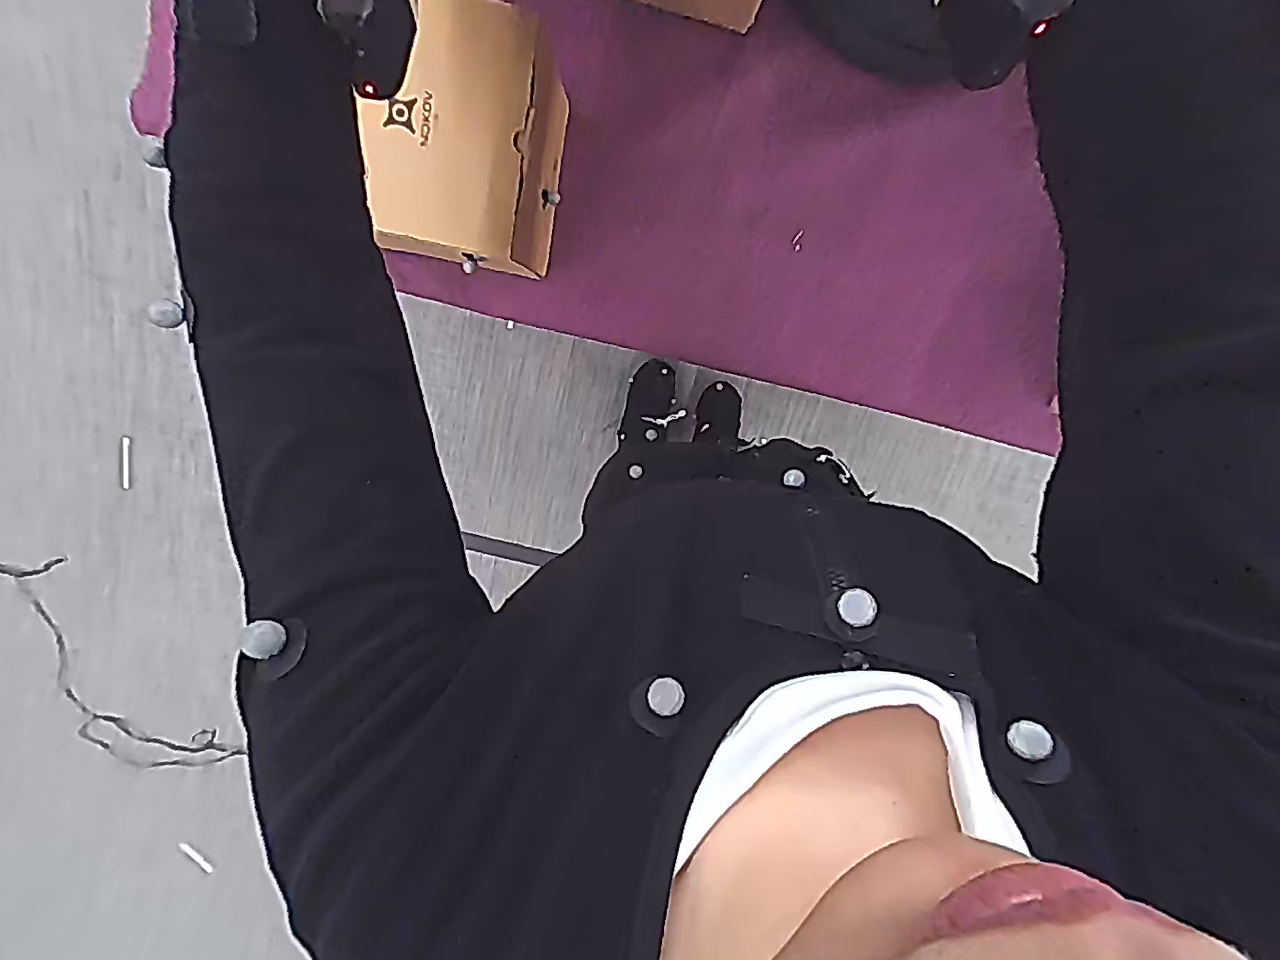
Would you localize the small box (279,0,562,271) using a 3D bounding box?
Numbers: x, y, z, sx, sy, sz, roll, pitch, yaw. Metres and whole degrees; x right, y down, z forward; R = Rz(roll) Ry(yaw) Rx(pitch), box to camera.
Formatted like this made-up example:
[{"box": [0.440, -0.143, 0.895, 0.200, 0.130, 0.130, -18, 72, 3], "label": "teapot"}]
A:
[{"box": [-0.172, -0.286, 0.466, 0.179, 0.176, 0.168, 9, 105, -5], "label": "small box"}]
